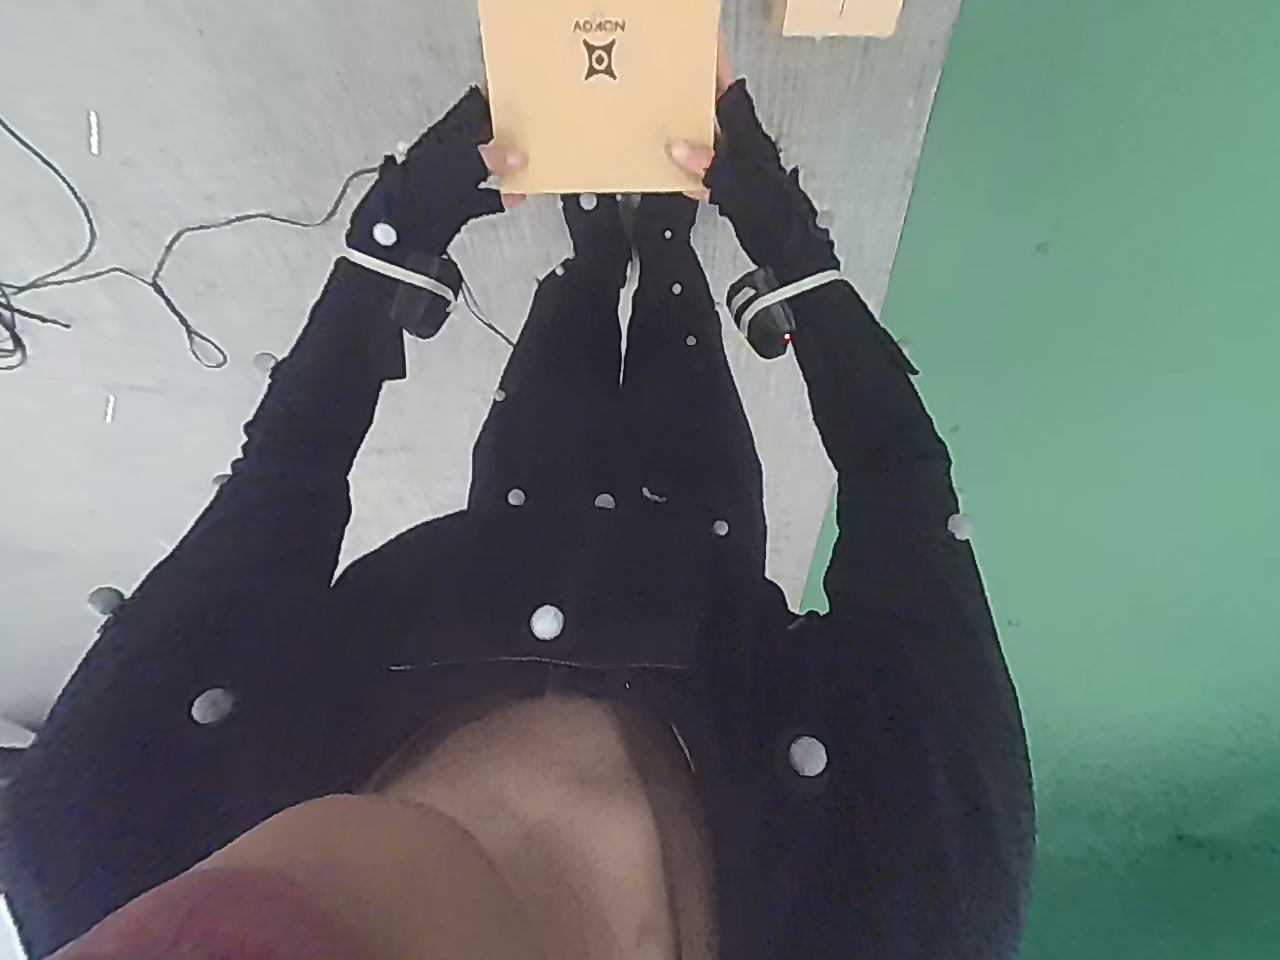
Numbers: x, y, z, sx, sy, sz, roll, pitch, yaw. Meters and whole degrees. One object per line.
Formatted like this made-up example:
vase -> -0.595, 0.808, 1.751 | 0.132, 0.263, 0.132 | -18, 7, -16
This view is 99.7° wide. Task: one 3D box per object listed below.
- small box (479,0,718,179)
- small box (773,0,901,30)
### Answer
small box -> -0.025, -0.349, 0.443 | 0.168, 0.176, 0.179 | 0, 119, 1
small box -> 0.297, -0.784, 0.795 | 0.168, 0.176, 0.179 | 3, 136, 3
